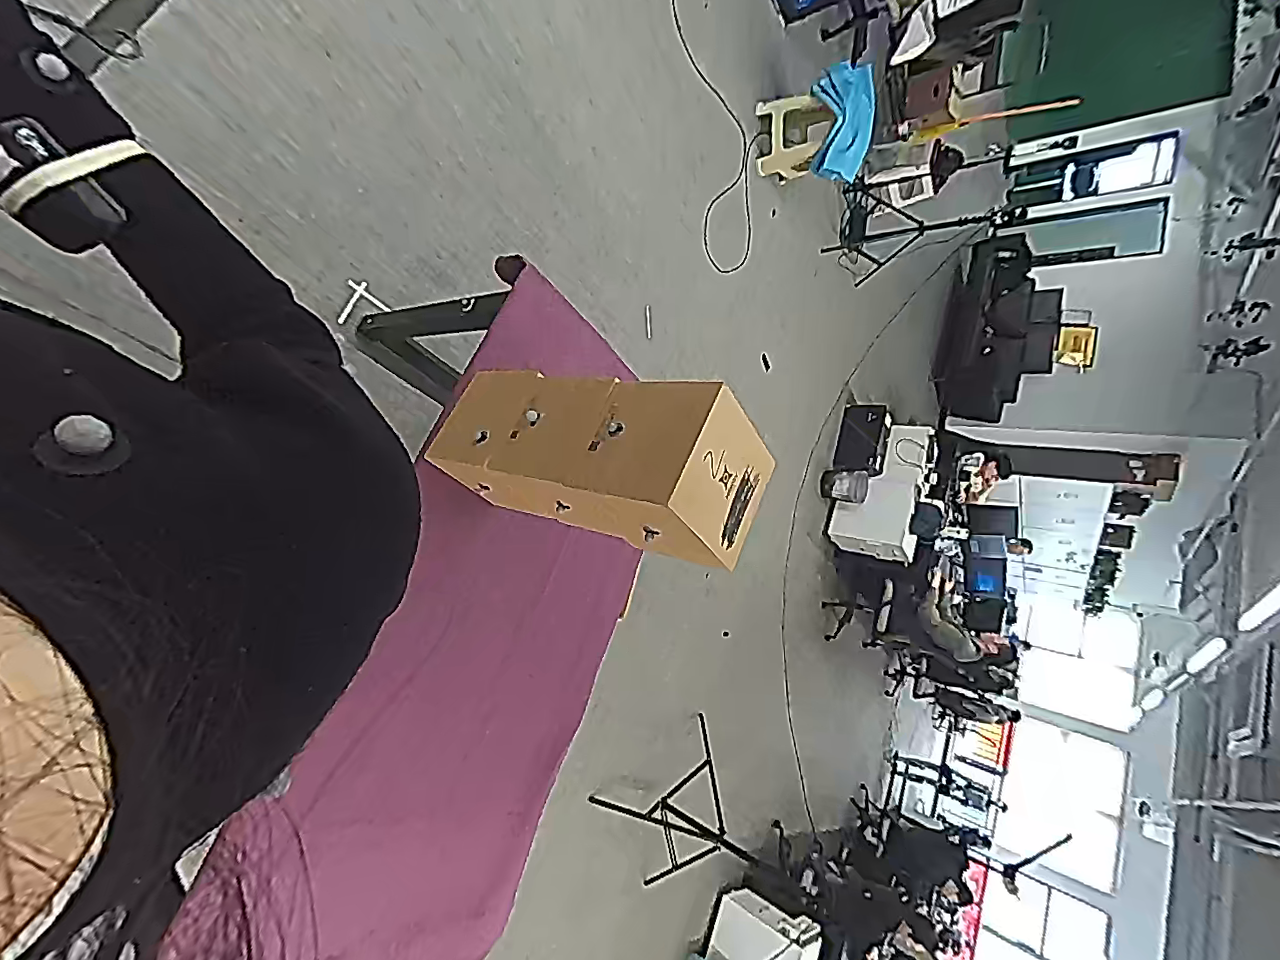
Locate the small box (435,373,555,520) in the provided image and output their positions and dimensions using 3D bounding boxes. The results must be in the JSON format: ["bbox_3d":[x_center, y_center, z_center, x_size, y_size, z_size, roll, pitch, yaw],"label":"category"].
[{"bbox_3d":[-0.209,-0.057,0.898,0.168,0.176,0.179,46,62,-45],"label":"small box"}]

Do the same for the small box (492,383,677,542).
[{"bbox_3d":[-0.079,-0.031,0.800,0.179,0.176,0.168,44,64,-44],"label":"small box"}]
